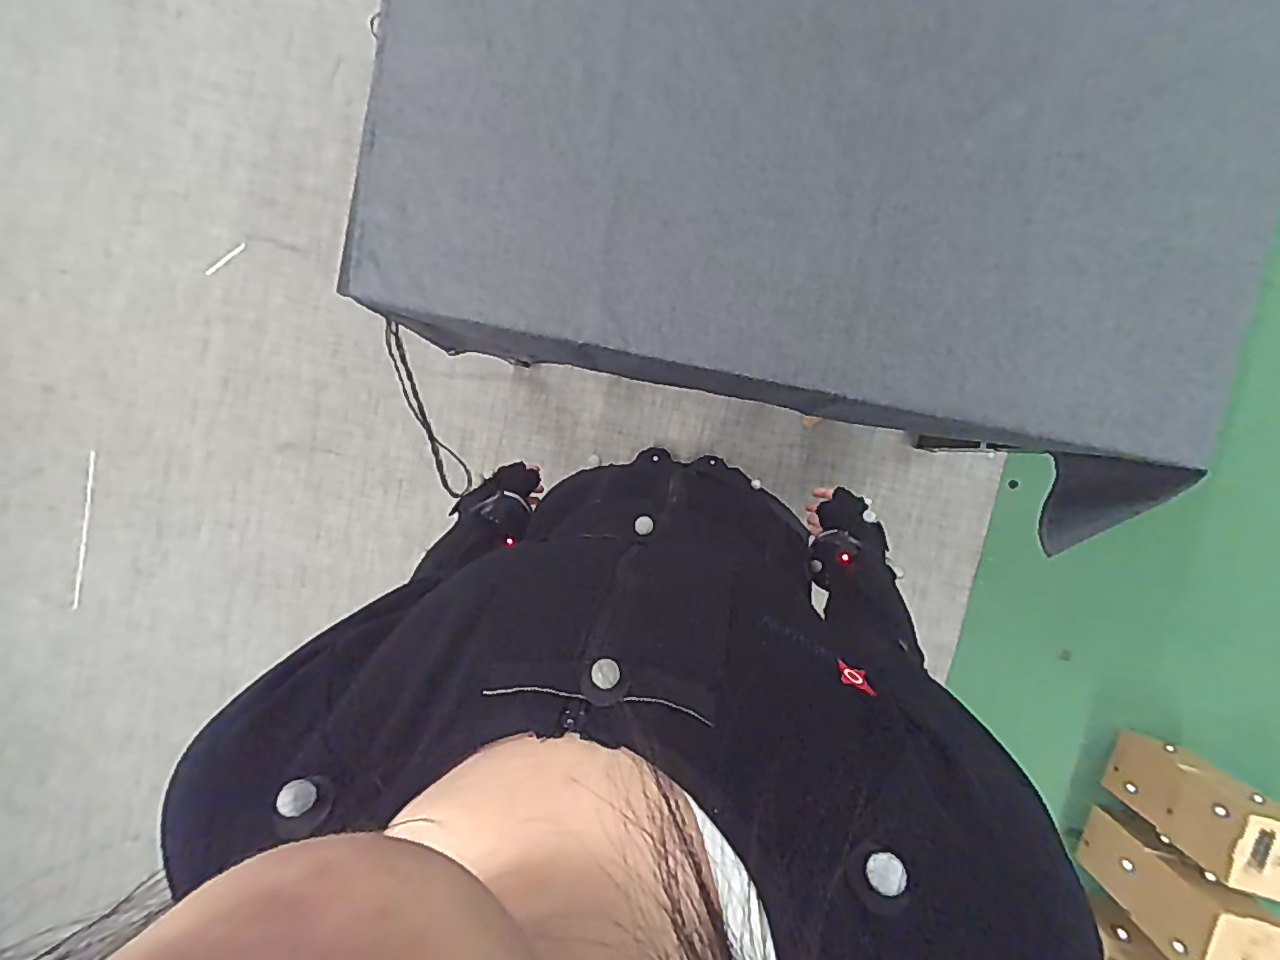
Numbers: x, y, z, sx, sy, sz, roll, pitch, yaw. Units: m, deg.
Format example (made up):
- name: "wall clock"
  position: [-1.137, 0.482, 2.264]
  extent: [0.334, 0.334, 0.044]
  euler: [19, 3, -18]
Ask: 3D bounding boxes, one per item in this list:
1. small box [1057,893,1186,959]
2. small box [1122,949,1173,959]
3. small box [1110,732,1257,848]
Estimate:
- name: "small box"
  position: [1.235, 1.215, 1.389]
  extent: [0.179, 0.176, 0.168]
  euler: [13, 94, 4]
- name: "small box"
  position: [1.222, 1.225, 1.225]
  extent: [0.179, 0.176, 0.168]
  euler: [12, 95, 3]
- name: "small box"
  position: [1.346, 0.764, 1.354]
  extent: [0.179, 0.176, 0.168]
  euler: [17, 94, 3]
